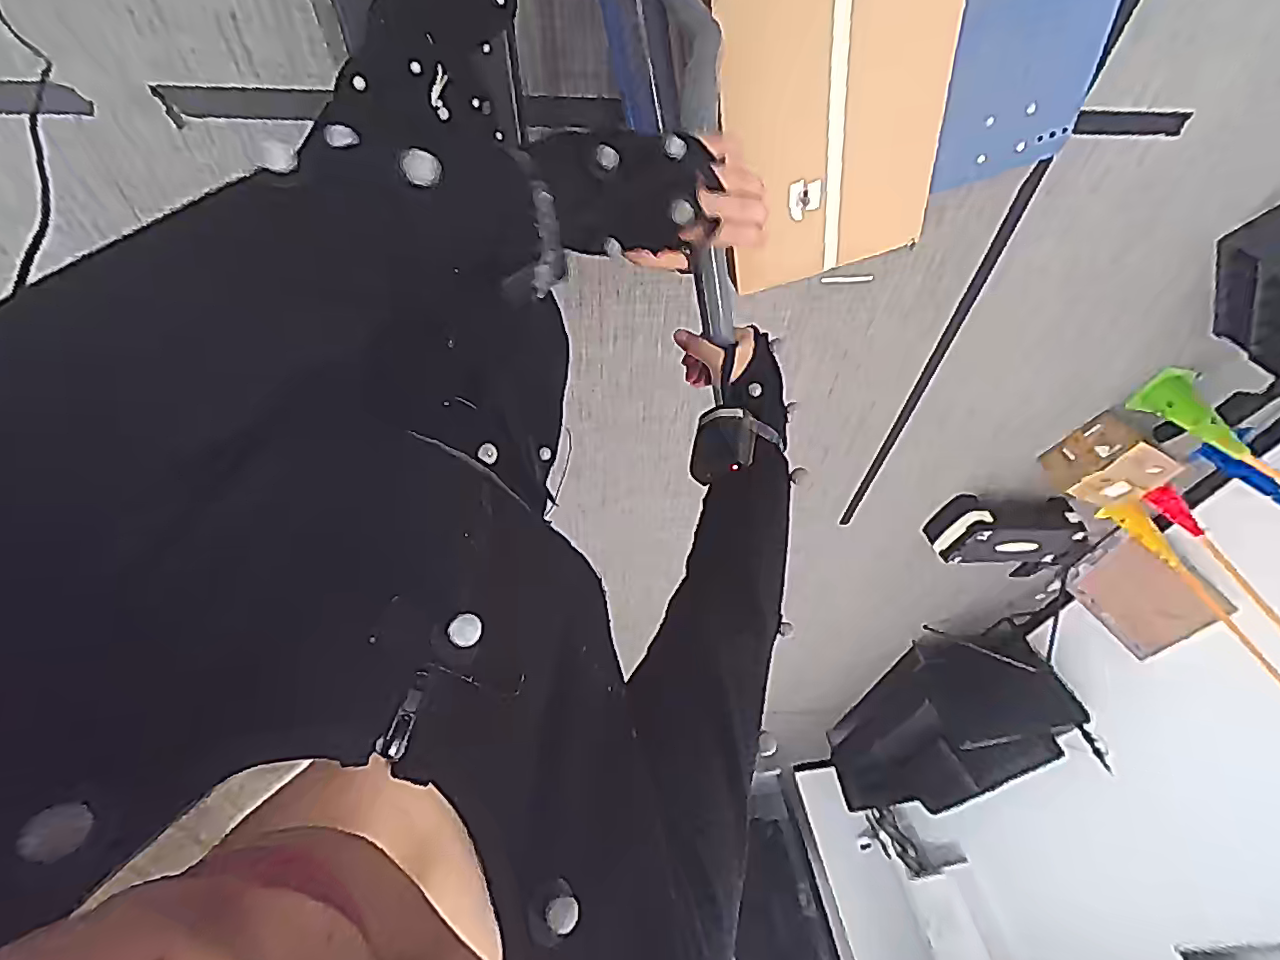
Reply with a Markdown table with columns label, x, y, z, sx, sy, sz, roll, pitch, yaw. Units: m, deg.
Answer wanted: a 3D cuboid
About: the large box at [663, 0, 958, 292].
| label | x | y | z | sx | sy | sz | roll | pitch | yaw |
| --- | --- | --- | --- | --- | --- | --- | --- | --- | --- |
| large box | 0.242 | -0.592 | 0.852 | 0.320 | 0.320 | 0.408 | -16 | 141 | 4 |
